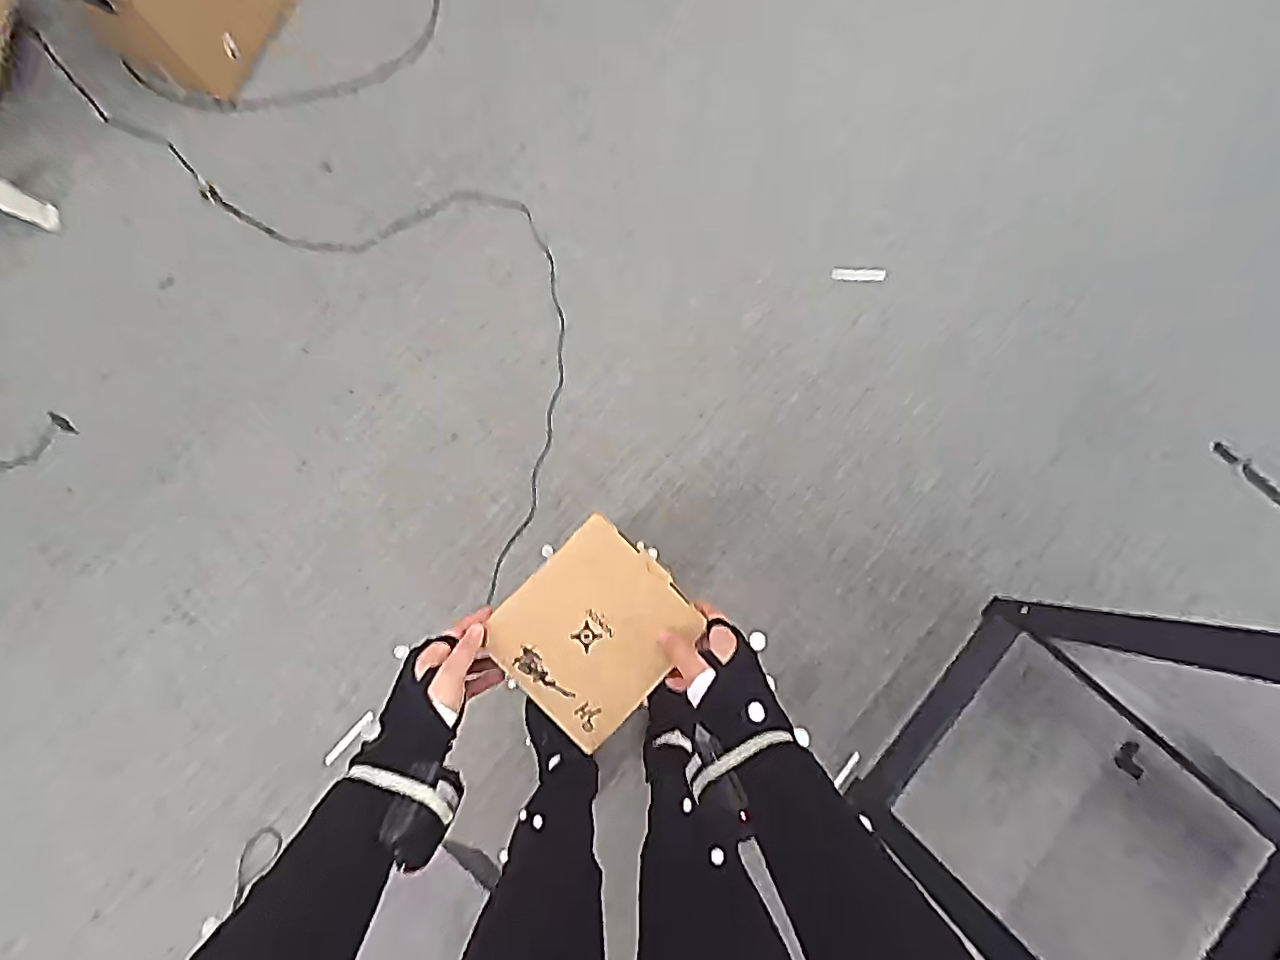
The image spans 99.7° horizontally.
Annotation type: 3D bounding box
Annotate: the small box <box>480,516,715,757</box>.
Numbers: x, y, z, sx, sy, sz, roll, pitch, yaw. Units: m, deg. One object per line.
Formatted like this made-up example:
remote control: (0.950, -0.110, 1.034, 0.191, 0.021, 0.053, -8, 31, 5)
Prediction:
small box: (-0.048, 0.157, 0.606, 0.168, 0.176, 0.179, 45, 82, 0)
